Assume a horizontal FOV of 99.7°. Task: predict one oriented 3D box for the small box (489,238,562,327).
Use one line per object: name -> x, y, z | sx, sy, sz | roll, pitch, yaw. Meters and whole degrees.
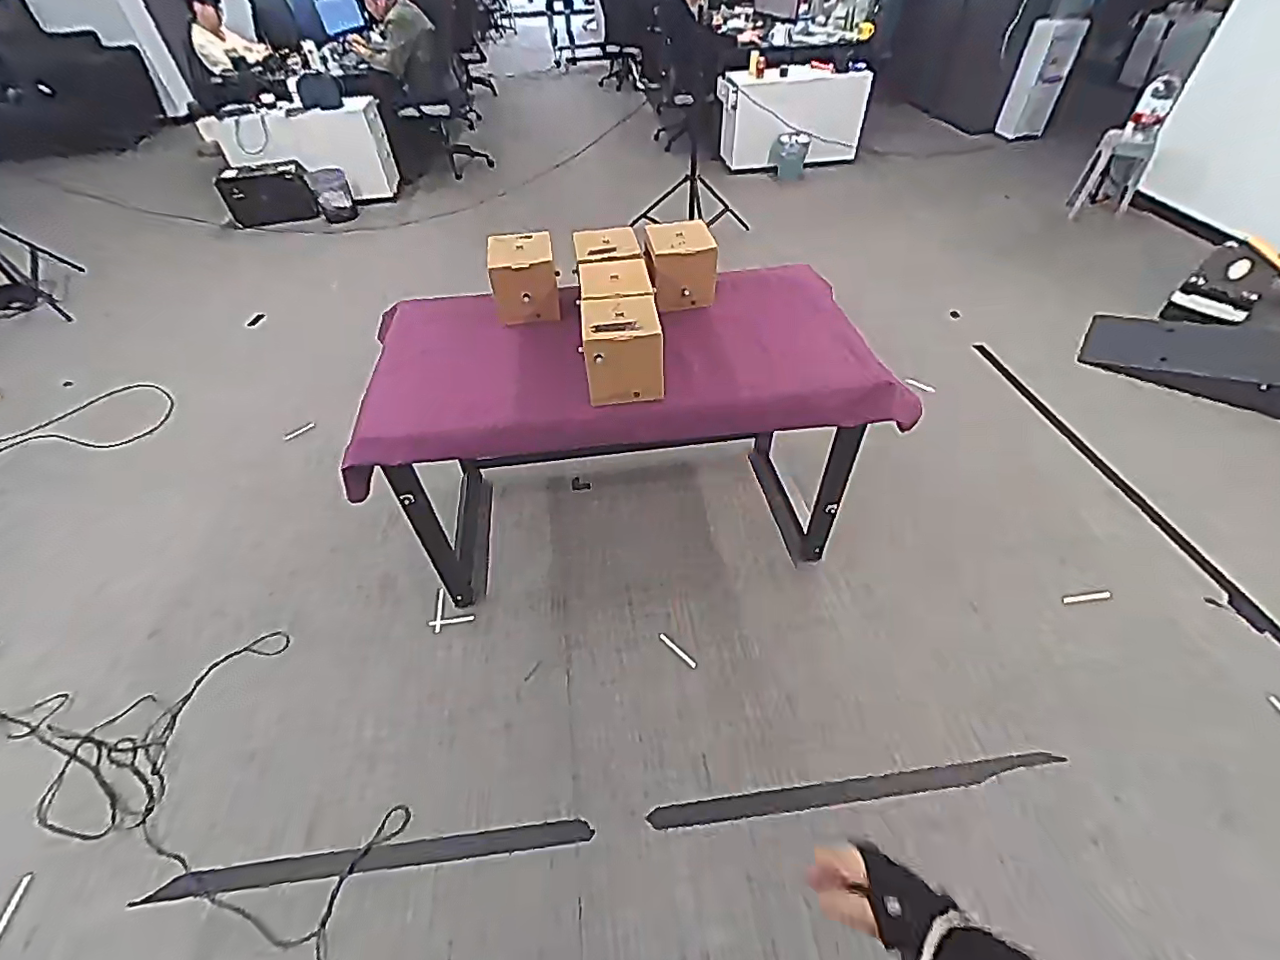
small box -> -0.306, -0.529, 1.465 | 0.168, 0.176, 0.179 | -8, 49, -5
